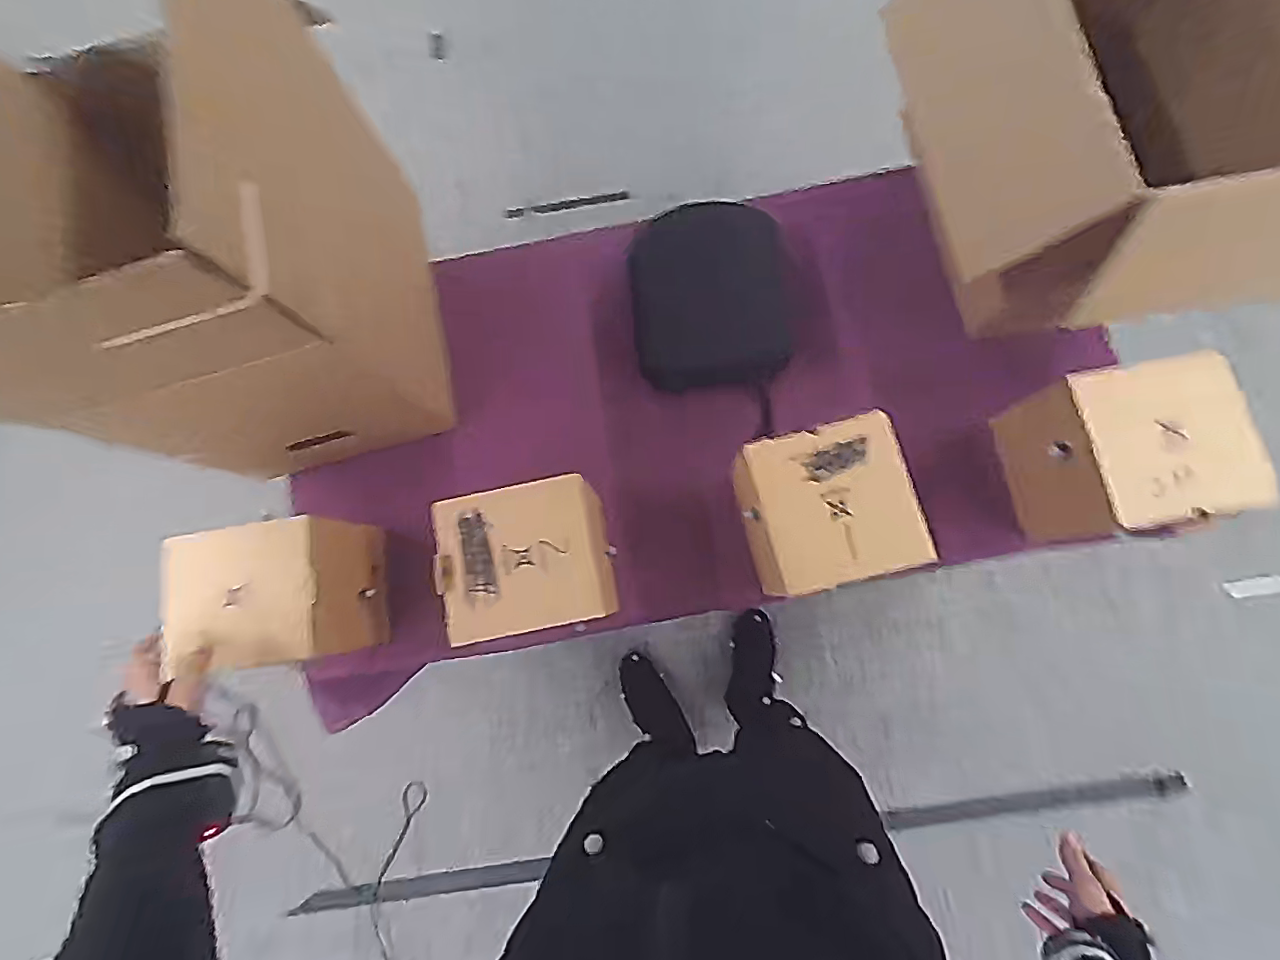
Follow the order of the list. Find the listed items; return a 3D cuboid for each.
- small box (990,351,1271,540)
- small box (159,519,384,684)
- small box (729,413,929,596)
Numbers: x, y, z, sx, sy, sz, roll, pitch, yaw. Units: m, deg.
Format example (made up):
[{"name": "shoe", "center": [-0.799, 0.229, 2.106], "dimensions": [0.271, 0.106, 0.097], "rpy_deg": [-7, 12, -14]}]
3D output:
[{"name": "small box", "center": [0.570, -0.031, 0.661], "dimensions": [0.168, 0.176, 0.179], "rpy_deg": [-10, 78, 3]}, {"name": "small box", "center": [-0.459, 0.154, 0.696], "dimensions": [0.179, 0.176, 0.168], "rpy_deg": [-10, 79, 1]}, {"name": "small box", "center": [0.216, 0.040, 0.674], "dimensions": [0.168, 0.176, 0.179], "rpy_deg": [-15, 79, 1]}]
